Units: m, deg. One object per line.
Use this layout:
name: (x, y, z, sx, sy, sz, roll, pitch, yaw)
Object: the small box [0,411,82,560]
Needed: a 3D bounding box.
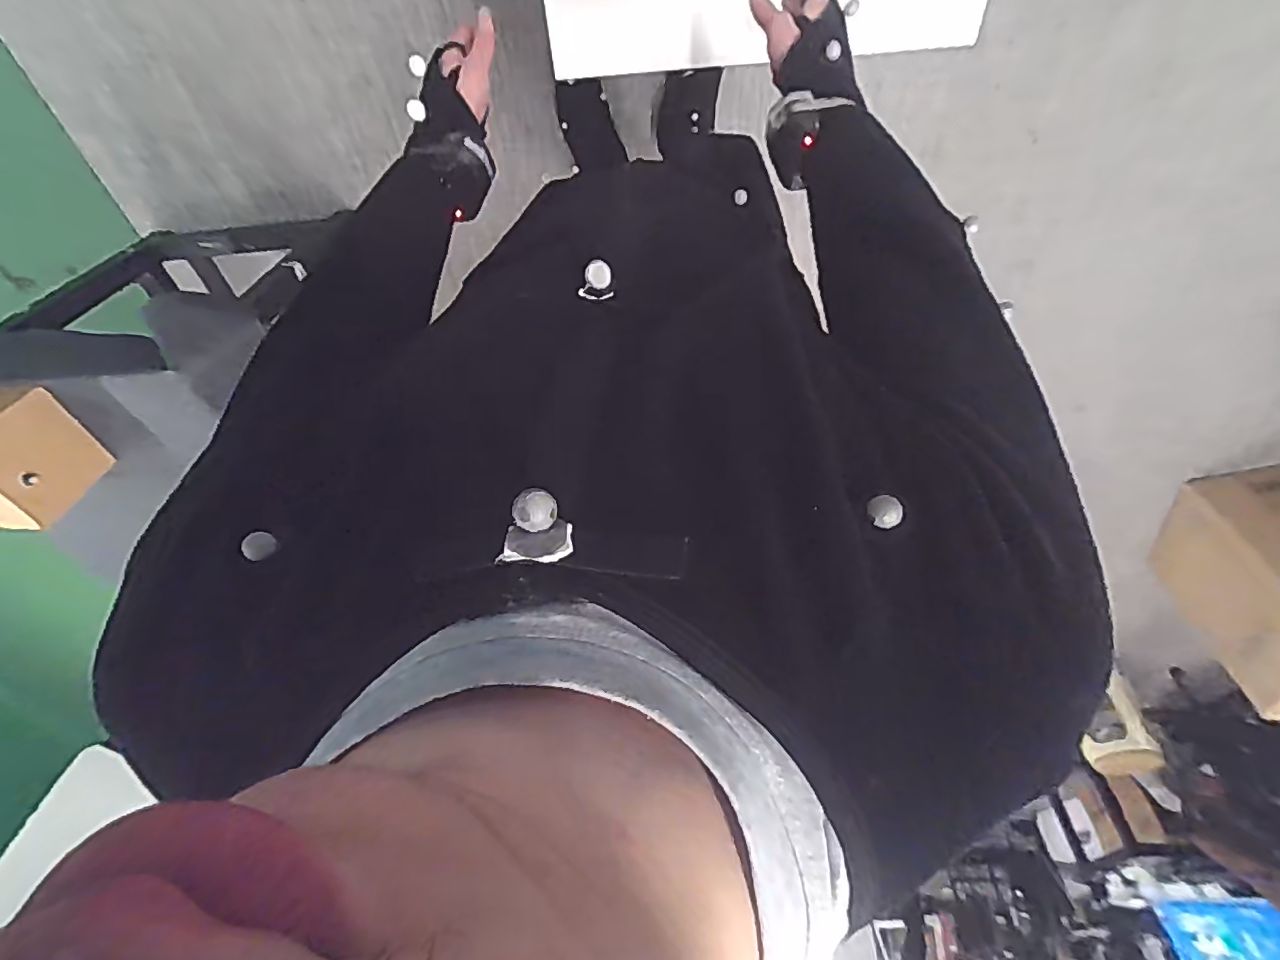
small box: (-1.047, 0.006, 0.832, 0.168, 0.176, 0.179, -2, 134, 1)
